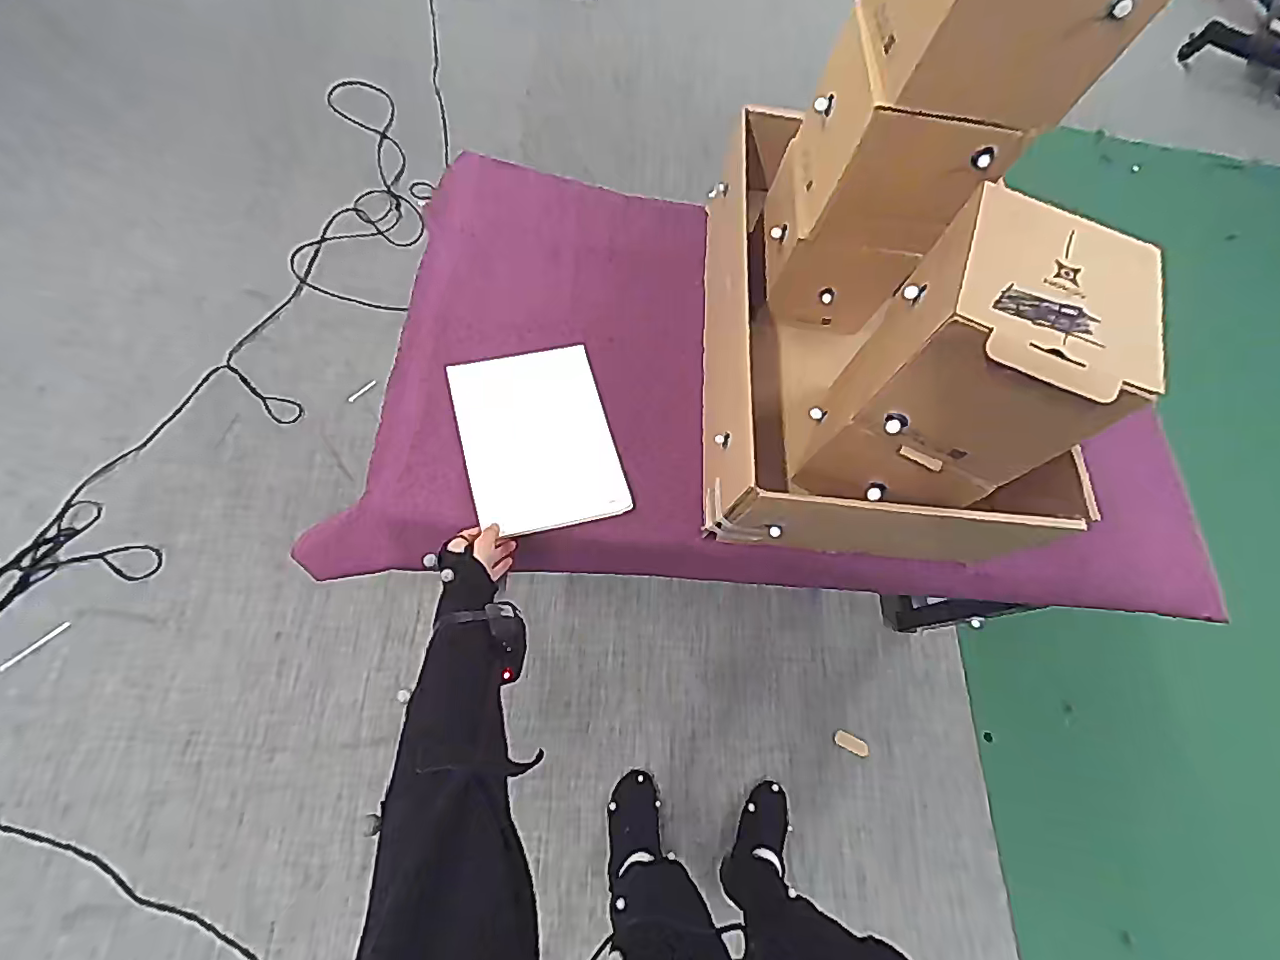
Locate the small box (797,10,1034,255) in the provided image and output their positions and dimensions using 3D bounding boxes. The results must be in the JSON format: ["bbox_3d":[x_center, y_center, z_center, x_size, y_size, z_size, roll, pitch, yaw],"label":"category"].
[{"bbox_3d":[0.292,-0.385,0.622,0.179,0.176,0.168,3,69,-7],"label":"small box"}]

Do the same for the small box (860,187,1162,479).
[{"bbox_3d":[0.334,-0.127,0.514,0.168,0.176,0.179,24,65,4],"label":"small box"}]

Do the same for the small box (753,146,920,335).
[{"bbox_3d":[0.266,-0.330,0.772,0.168,0.176,0.179,6,69,-6],"label":"small box"}]
